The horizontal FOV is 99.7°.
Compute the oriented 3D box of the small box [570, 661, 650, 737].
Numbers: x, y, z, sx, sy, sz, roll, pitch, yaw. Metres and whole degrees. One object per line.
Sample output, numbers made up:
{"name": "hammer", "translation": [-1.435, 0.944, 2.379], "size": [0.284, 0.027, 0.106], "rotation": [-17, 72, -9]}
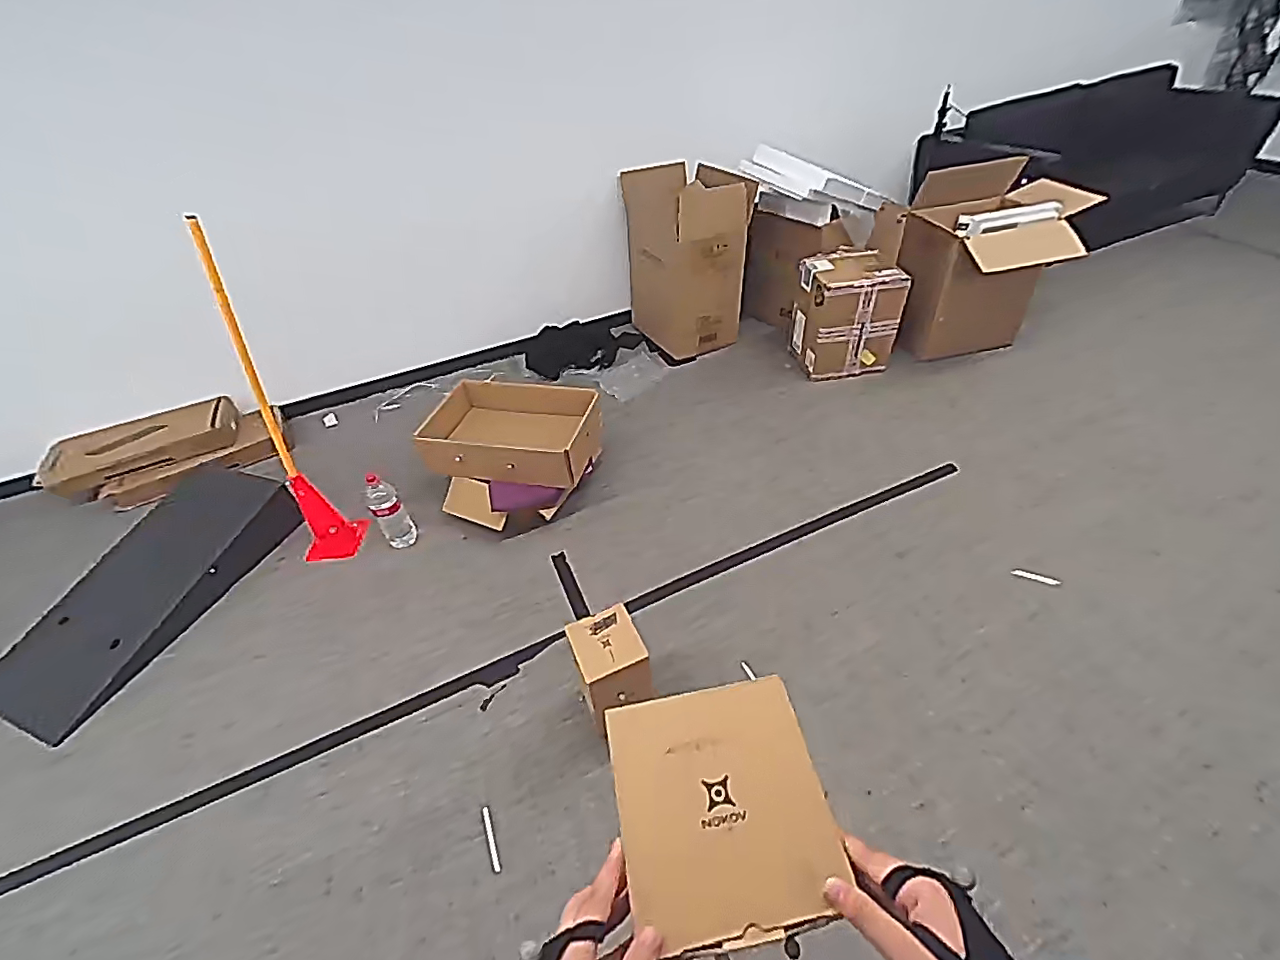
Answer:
{"name": "small box", "translation": [-0.078, 0.584, 1.512], "size": [0.179, 0.176, 0.168], "rotation": [-19, 44, -15]}

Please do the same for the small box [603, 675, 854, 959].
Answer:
{"name": "small box", "translation": [0.065, 0.308, 0.493], "size": [0.168, 0.176, 0.179], "rotation": [-9, 47, -6]}

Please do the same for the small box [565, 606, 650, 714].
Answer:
{"name": "small box", "translation": [-0.084, 0.465, 1.398], "size": [0.168, 0.176, 0.179], "rotation": [-19, 45, -15]}
